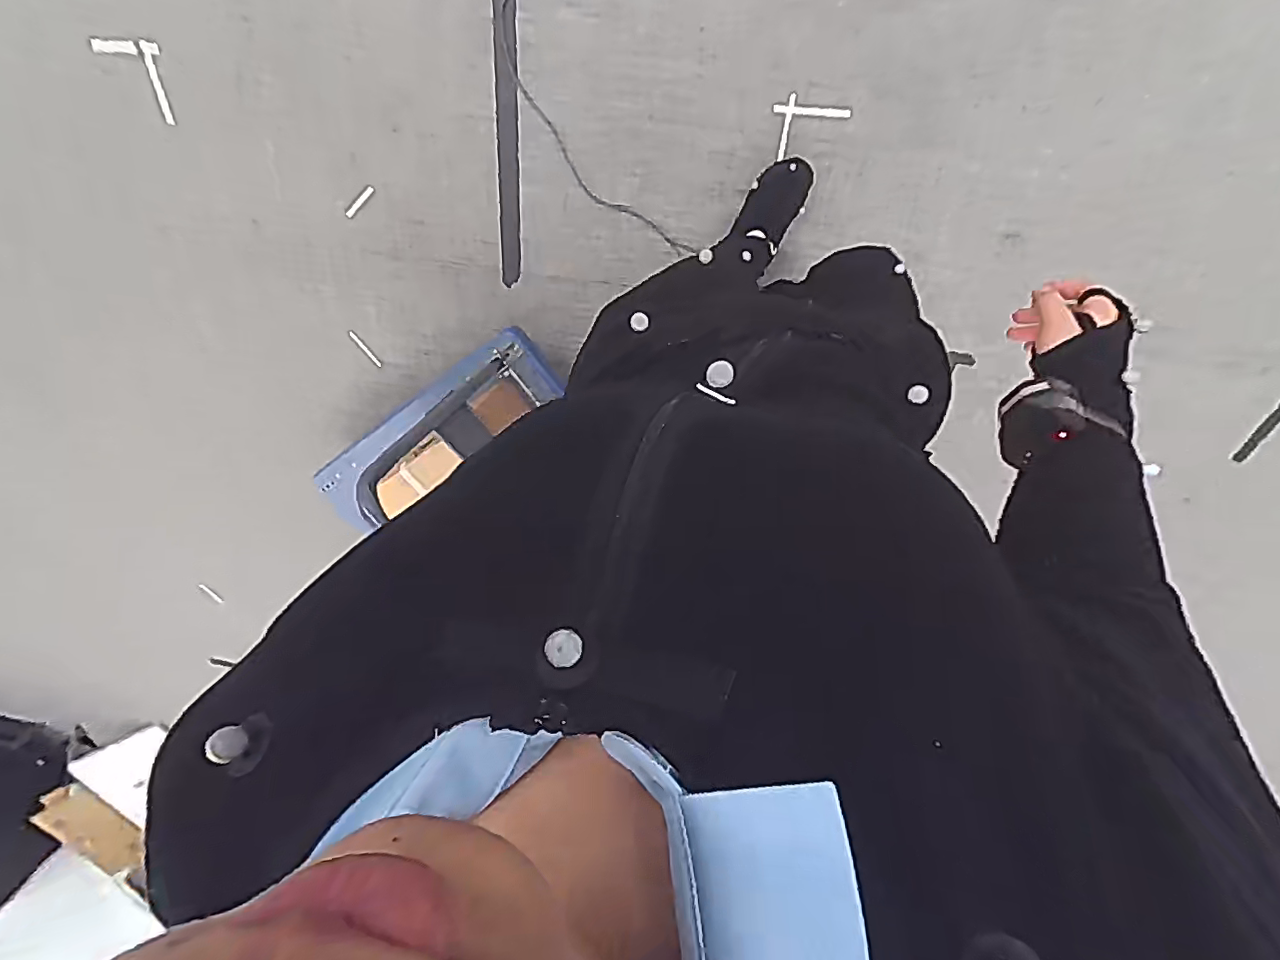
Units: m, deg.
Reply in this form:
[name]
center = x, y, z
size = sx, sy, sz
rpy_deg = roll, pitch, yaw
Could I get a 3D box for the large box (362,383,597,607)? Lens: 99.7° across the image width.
[large box]
center = -0.372, 0.038, 1.352
size = 0.320, 0.320, 0.408
rpy_deg = -27, 113, 24
